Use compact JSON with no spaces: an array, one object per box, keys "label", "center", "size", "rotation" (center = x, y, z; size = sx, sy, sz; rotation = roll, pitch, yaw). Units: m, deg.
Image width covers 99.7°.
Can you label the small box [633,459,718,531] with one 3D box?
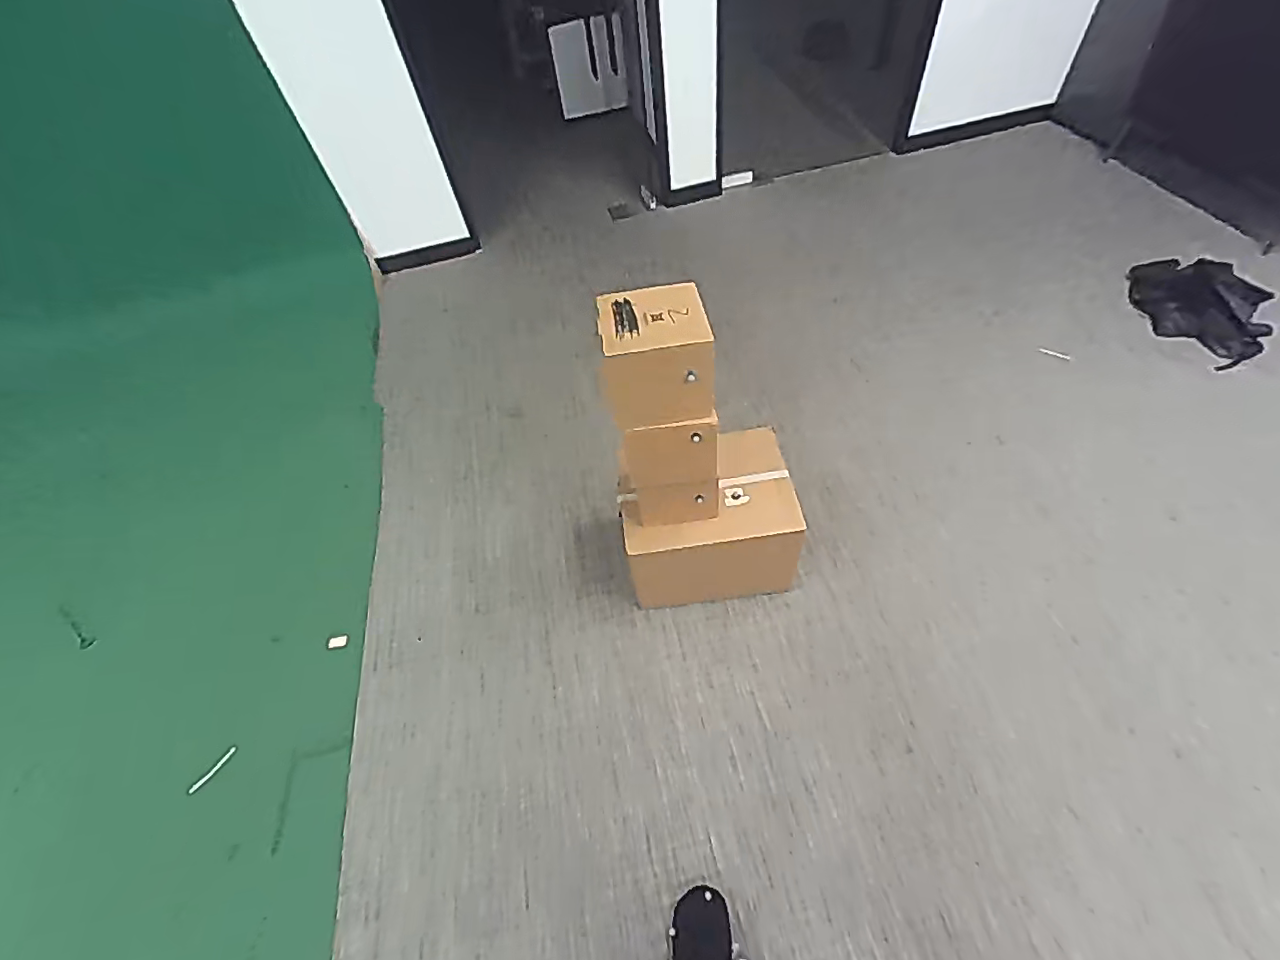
[{"label":"small box","center":[0.073,-0.005,1.197],"size":[0.179,0.176,0.168],"rotation":[-9,51,1]}]

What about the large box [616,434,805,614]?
[{"label":"large box","center":[0.163,0.120,1.396],"size":[0.408,0.320,0.320],"rotation":[-8,53,0]}]

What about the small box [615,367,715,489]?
[{"label":"small box","center":[0.051,-0.097,1.064],"size":[0.179,0.176,0.168],"rotation":[-6,51,1]}]
